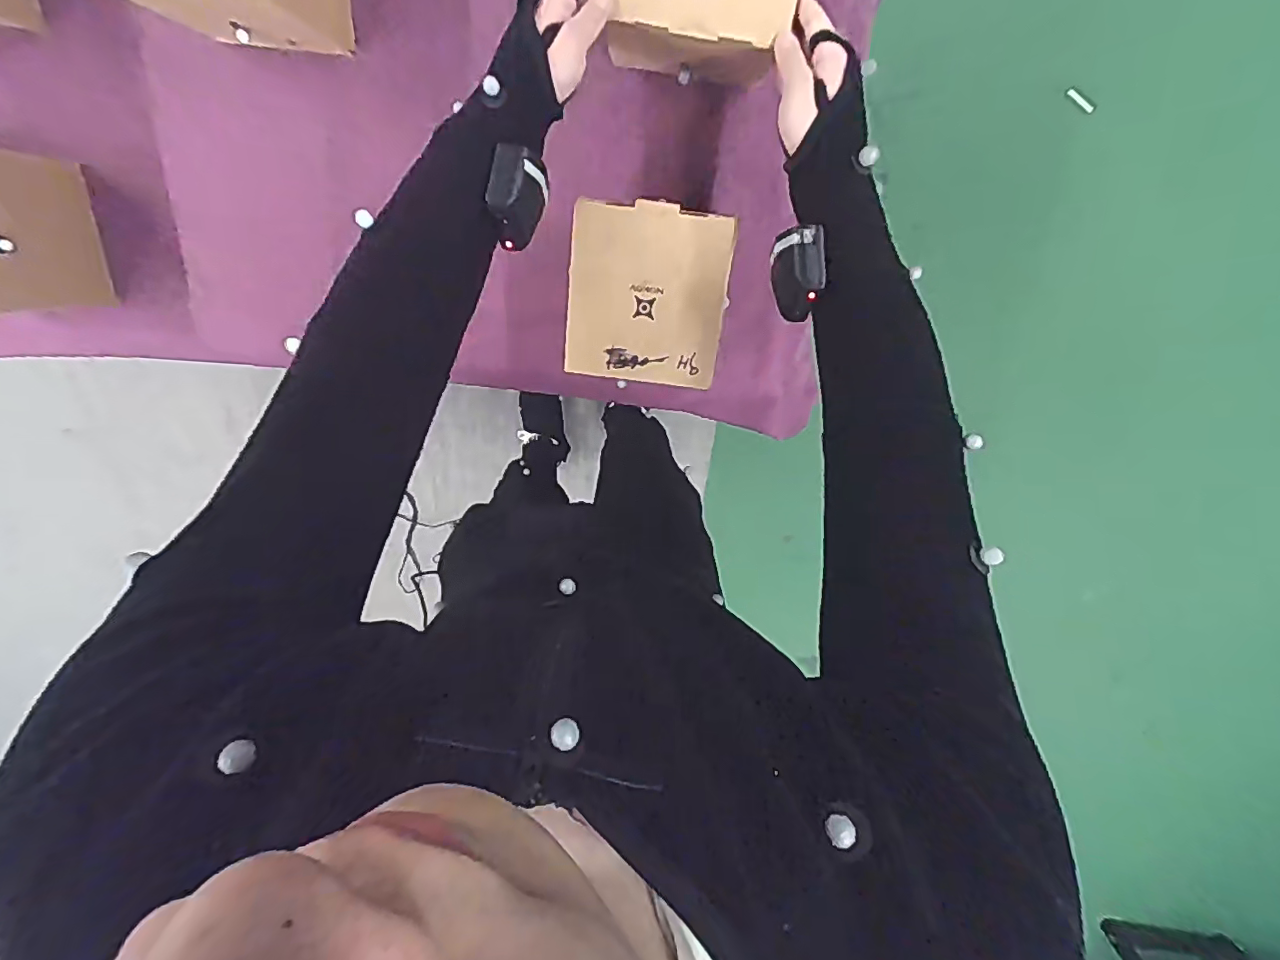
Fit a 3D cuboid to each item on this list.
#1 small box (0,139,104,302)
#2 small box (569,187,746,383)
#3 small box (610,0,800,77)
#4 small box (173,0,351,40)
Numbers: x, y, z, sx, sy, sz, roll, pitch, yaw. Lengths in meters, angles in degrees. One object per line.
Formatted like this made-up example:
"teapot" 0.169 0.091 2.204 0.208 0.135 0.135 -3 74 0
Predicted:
"small box" -0.797 -0.307 0.631 0.168 0.176 0.179 6 113 -1
"small box" 0.016 -0.226 0.635 0.168 0.176 0.179 8 112 0
"small box" 0.065 -0.502 0.493 0.168 0.176 0.179 9 118 -3
"small box" -0.402 -0.555 0.508 0.168 0.176 0.179 6 115 -1
